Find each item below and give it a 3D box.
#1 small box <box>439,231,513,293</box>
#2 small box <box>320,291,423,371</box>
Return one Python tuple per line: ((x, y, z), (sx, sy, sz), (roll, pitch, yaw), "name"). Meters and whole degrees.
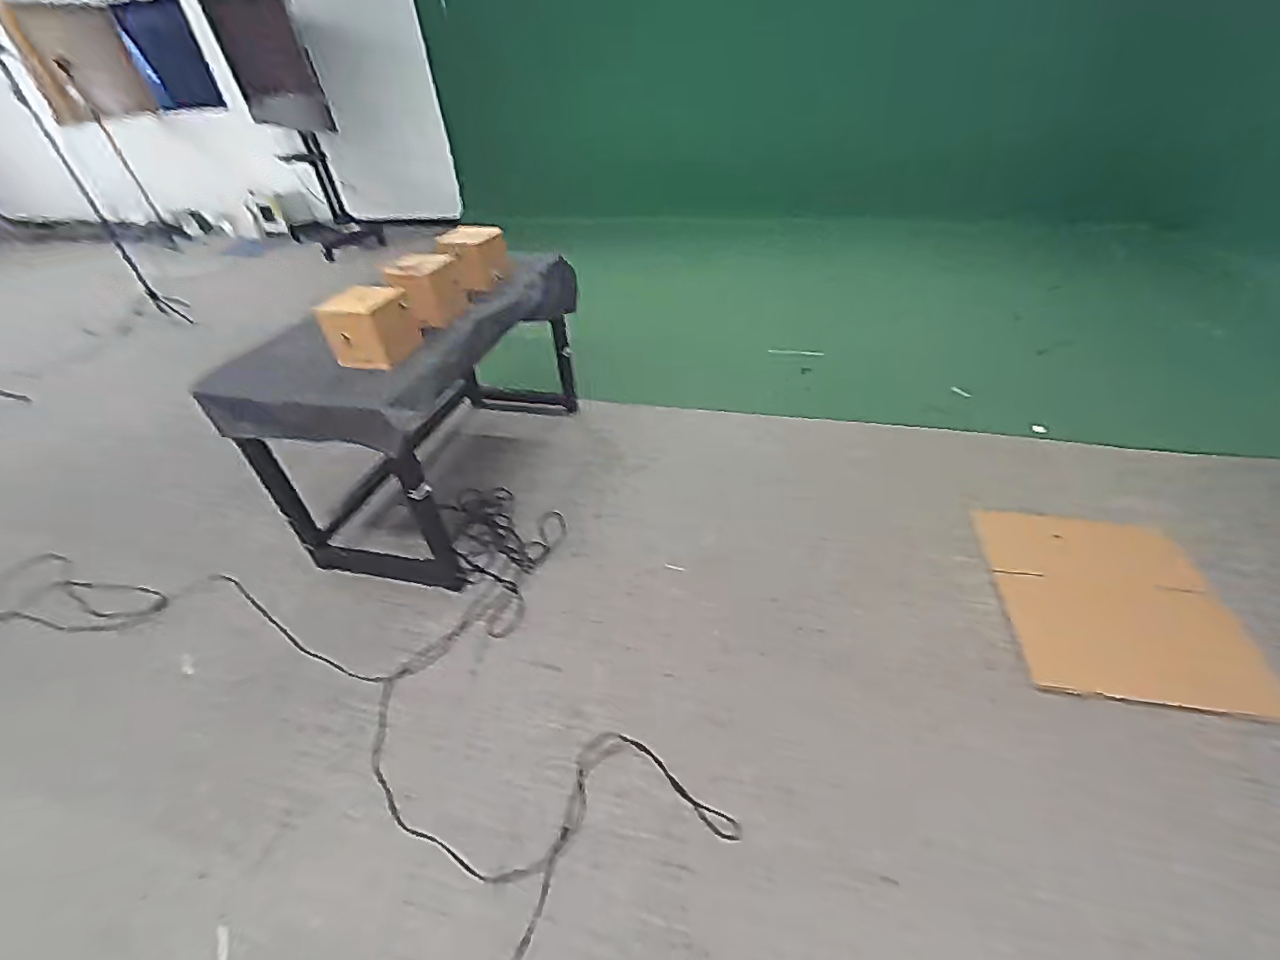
((-0.586, -0.786, 1.950), (0.179, 0.176, 0.168), (11, 43, 18), "small box")
((-0.738, -0.417, 1.511), (0.168, 0.176, 0.179), (6, 39, 14), "small box")
